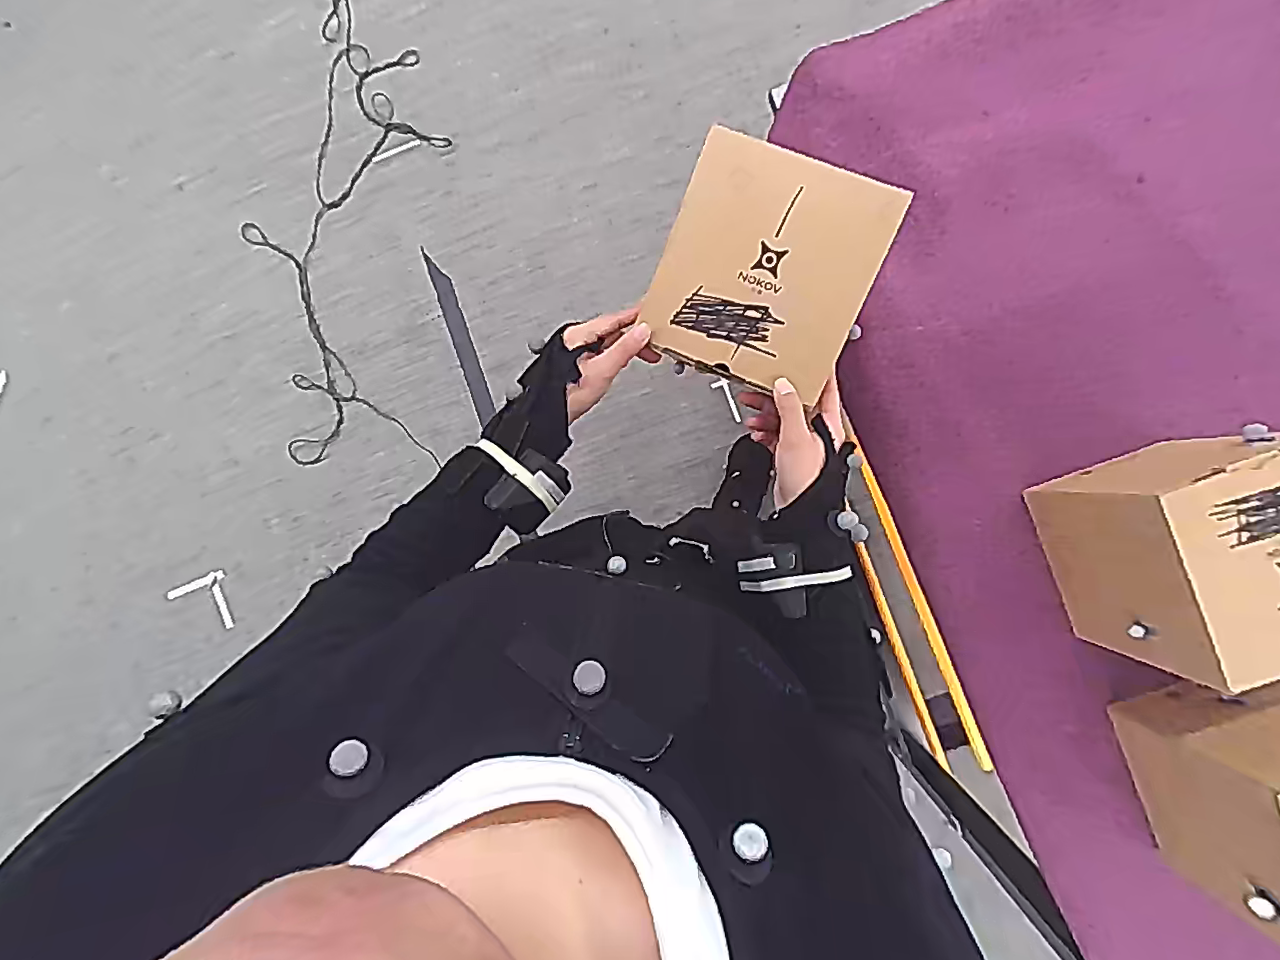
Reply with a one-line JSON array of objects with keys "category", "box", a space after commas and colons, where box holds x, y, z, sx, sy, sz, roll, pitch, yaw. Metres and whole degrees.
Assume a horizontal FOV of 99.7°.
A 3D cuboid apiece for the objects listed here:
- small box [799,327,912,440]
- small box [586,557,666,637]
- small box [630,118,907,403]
[{"category": "small box", "box": [0.436, -0.194, 1.146, 0.168, 0.176, 0.179, -25, 87, 6]}, {"category": "small box", "box": [-0.034, 0.269, 1.271, 0.179, 0.176, 0.168, 3, 86, -1]}, {"category": "small box", "box": [0.110, -0.182, 0.503, 0.168, 0.176, 0.179, 23, 101, 6]}]
